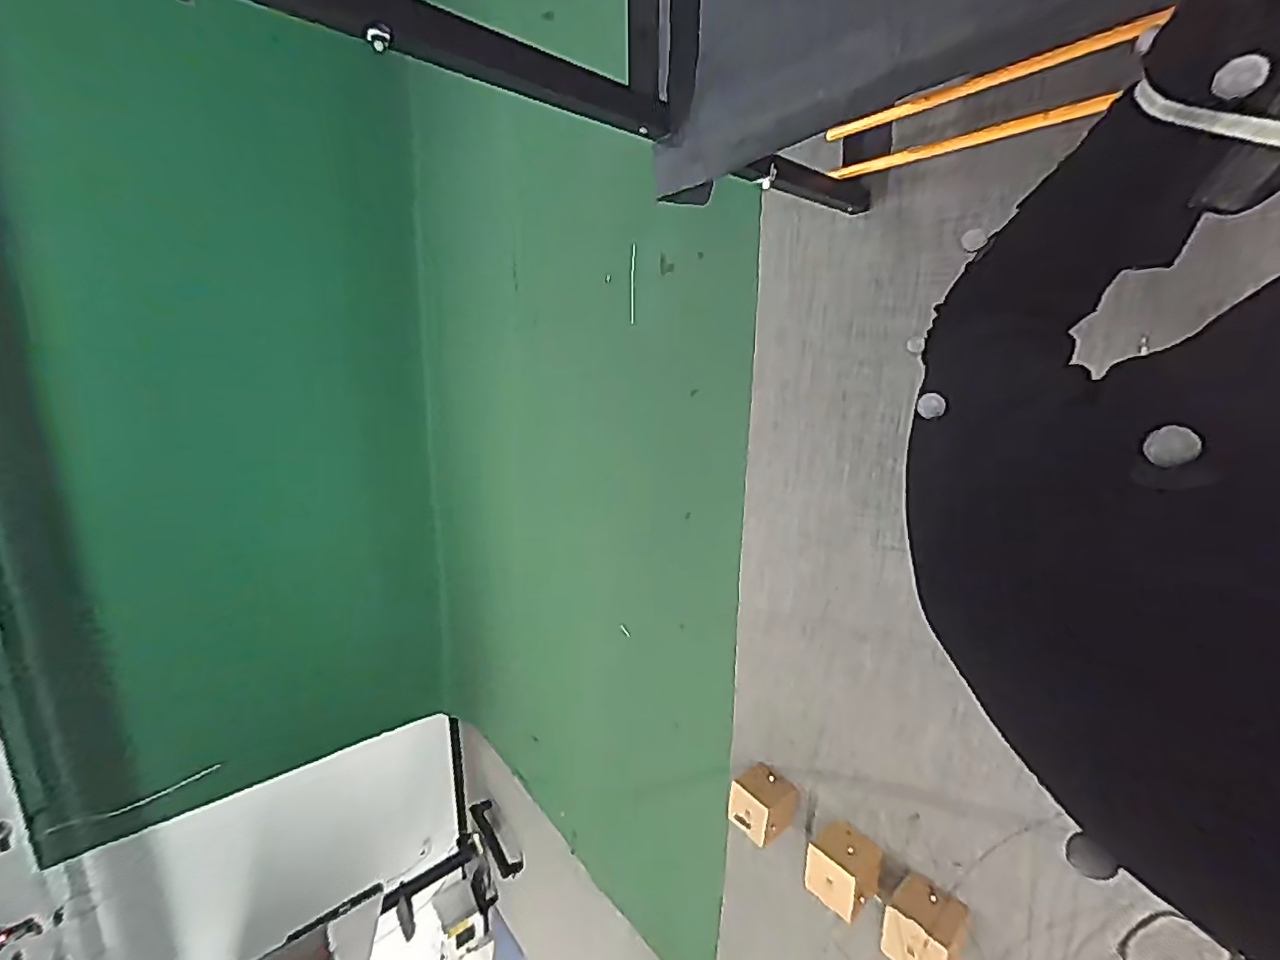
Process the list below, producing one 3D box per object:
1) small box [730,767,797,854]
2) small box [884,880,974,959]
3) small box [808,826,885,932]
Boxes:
[{"bbox_3d":[0.452,1.195,1.967,0.168,0.176,0.179,20,111,47],"label":"small box"},{"bbox_3d":[0.820,1.301,1.529,0.168,0.176,0.179,16,108,48],"label":"small box"},{"bbox_3d":[0.660,1.259,1.724,0.168,0.176,0.179,15,109,49],"label":"small box"}]
